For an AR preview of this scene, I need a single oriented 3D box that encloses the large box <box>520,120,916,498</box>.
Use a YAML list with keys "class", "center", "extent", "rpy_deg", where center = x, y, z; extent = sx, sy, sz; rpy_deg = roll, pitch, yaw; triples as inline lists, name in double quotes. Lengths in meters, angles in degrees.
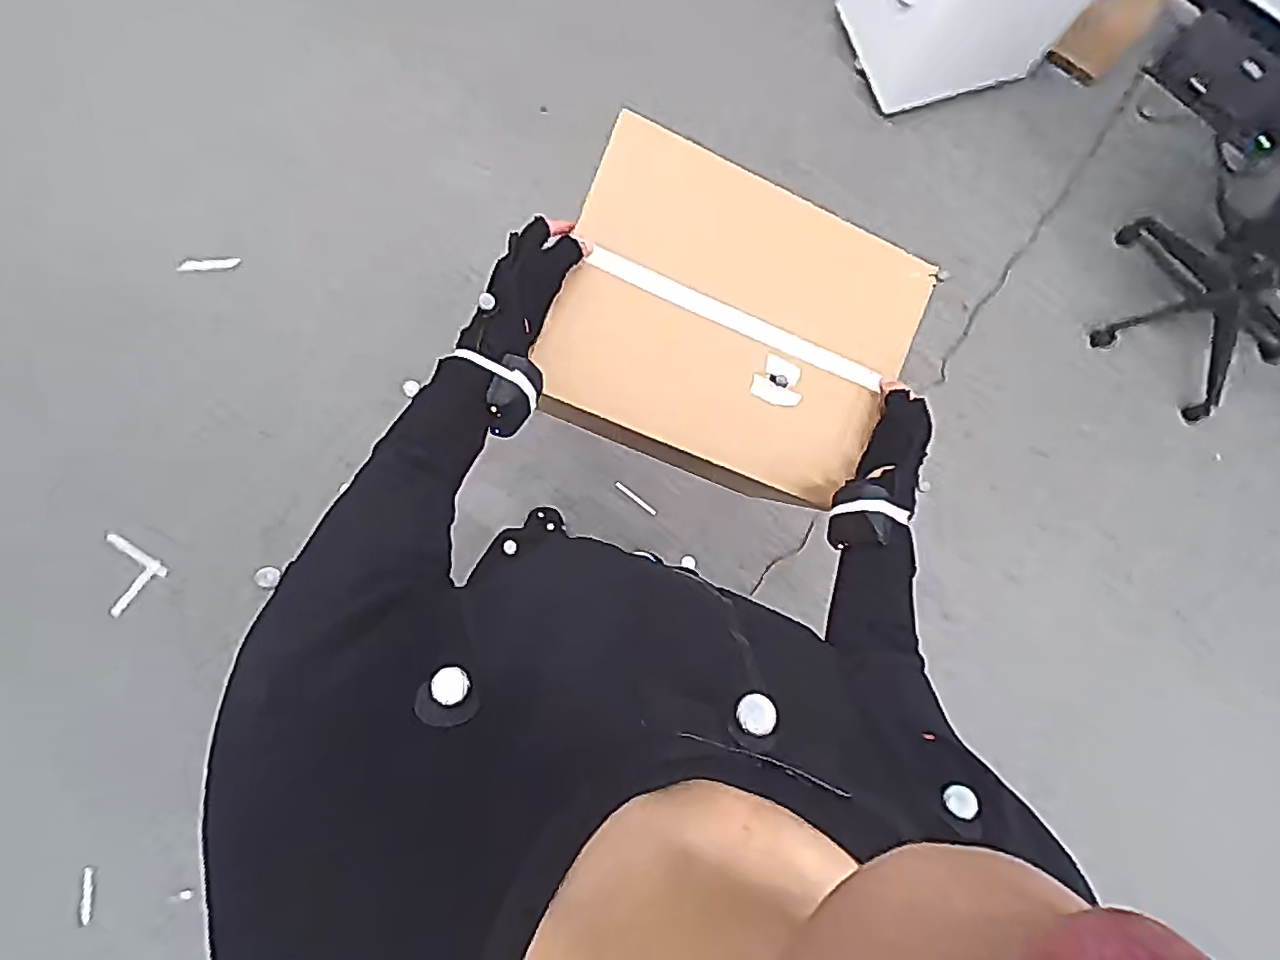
- class: "large box"
  center: [0.076, -0.194, 0.765]
  extent: [0.408, 0.320, 0.320]
  rpy_deg: [21, 91, -10]
